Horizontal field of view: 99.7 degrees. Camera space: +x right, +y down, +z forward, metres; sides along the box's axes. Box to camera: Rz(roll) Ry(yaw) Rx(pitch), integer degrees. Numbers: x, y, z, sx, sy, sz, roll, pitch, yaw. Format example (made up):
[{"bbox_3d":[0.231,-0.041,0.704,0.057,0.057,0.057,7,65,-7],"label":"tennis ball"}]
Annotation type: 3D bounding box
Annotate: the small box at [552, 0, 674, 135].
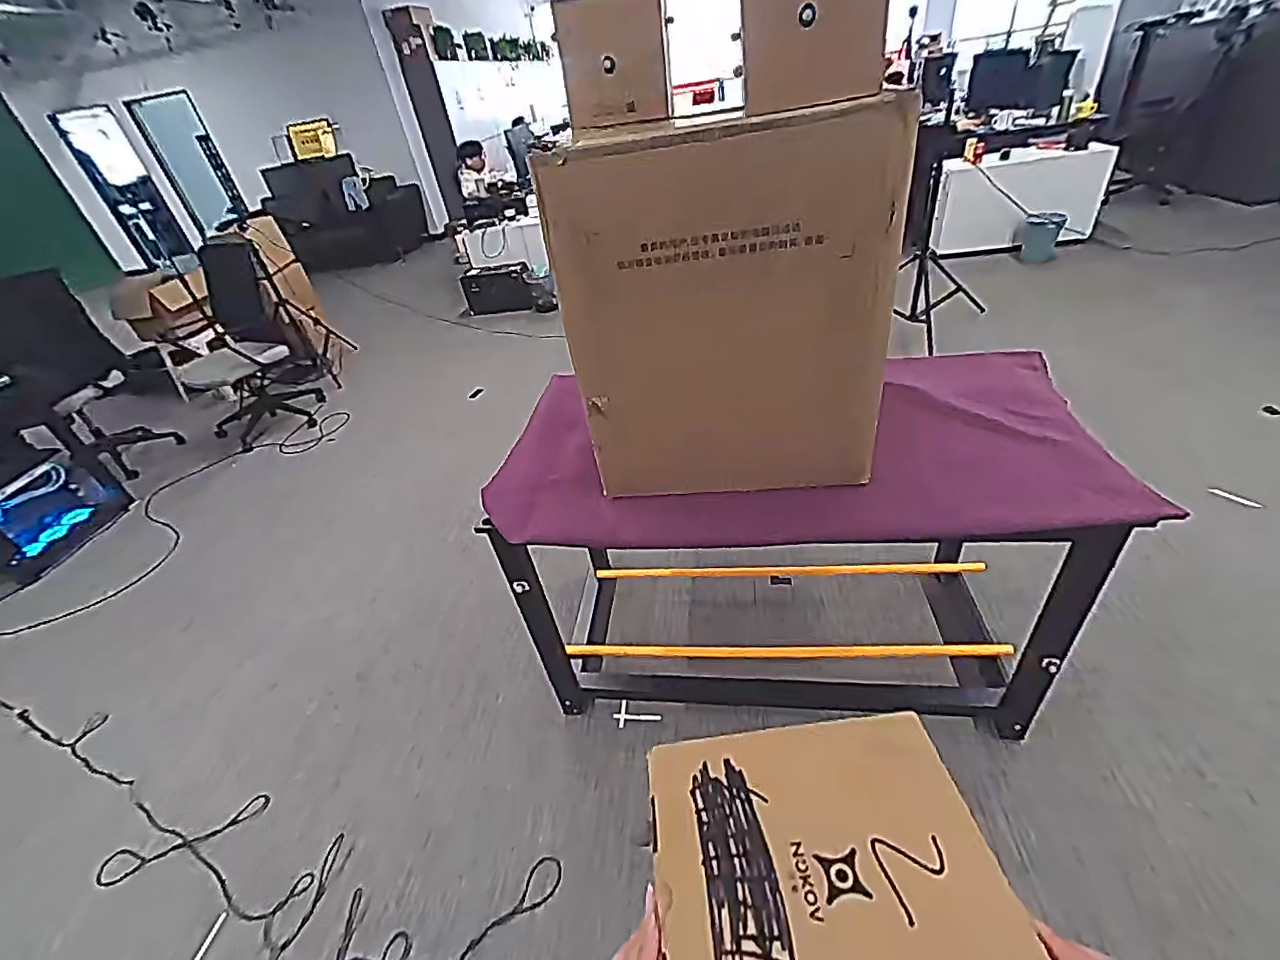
[{"bbox_3d":[-0.034,-0.688,0.904,0.168,0.176,0.179,-2,38,9],"label":"small box"}]
